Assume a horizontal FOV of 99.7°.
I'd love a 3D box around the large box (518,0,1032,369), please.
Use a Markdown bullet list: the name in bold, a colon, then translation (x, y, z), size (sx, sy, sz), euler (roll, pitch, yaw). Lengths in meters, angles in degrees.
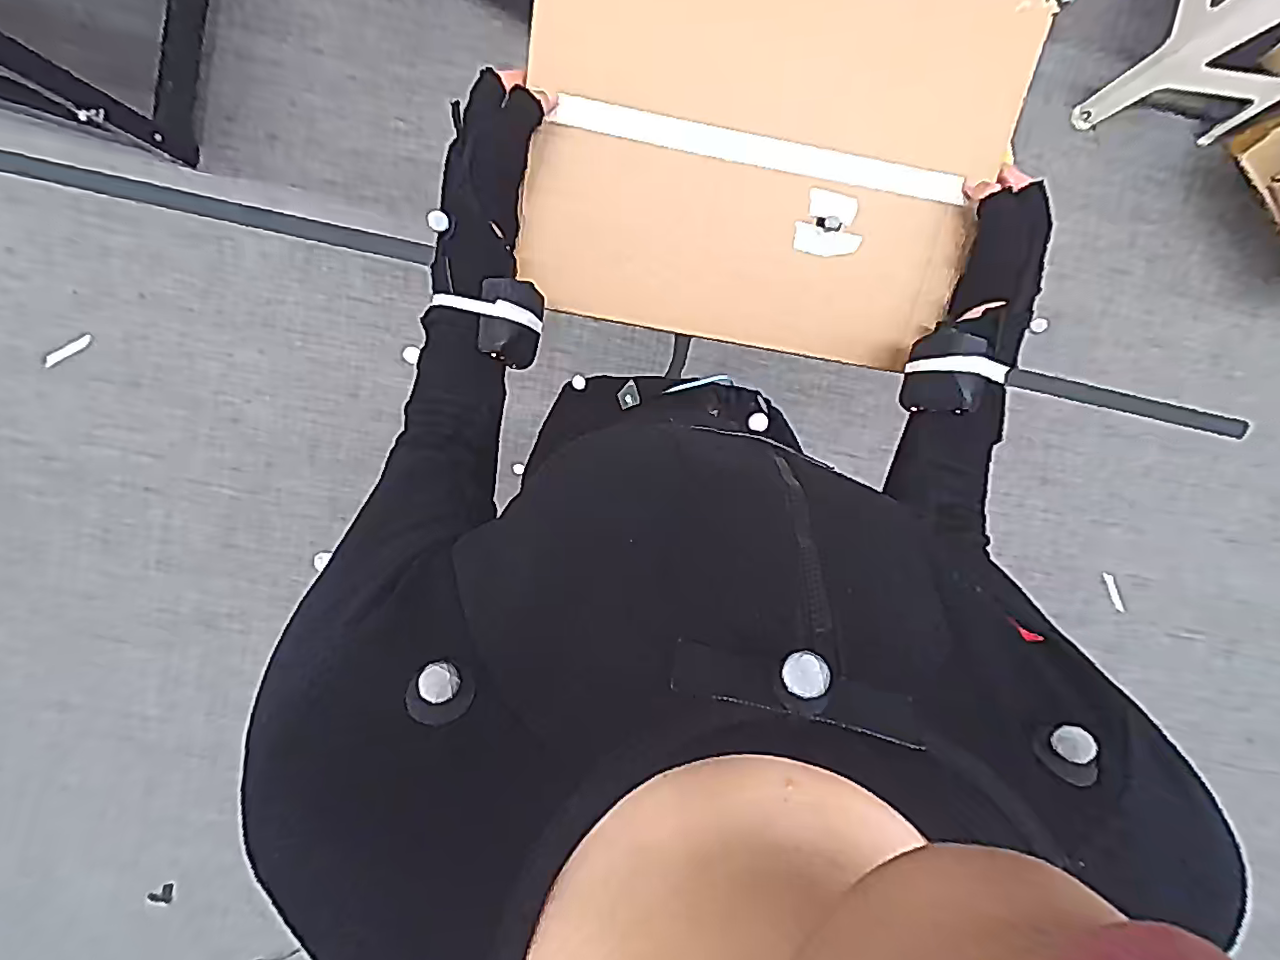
- **large box**: translation (0.095, -0.325, 0.610), size (0.408, 0.320, 0.320), euler (8, 109, -6)
